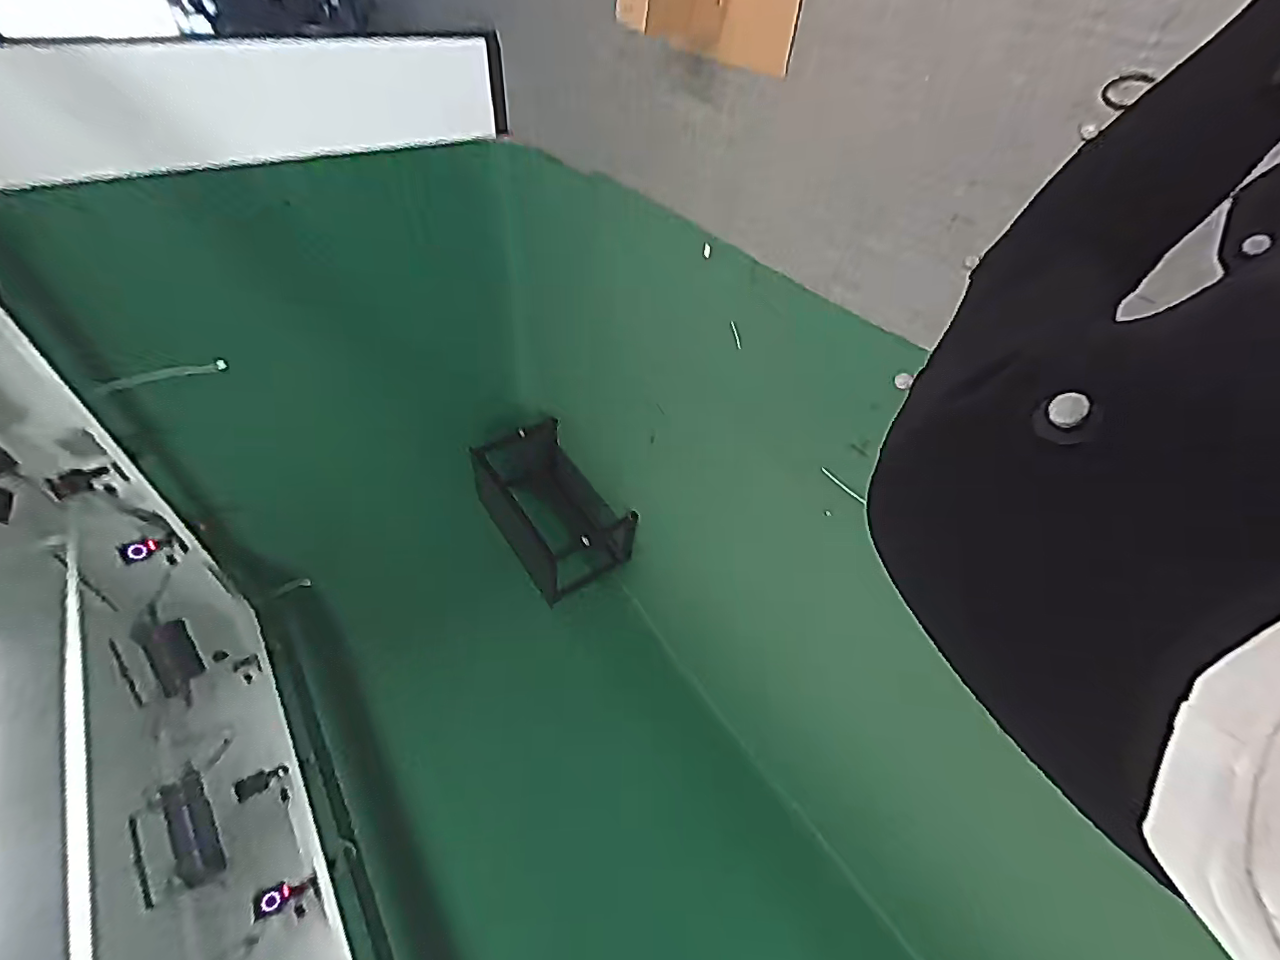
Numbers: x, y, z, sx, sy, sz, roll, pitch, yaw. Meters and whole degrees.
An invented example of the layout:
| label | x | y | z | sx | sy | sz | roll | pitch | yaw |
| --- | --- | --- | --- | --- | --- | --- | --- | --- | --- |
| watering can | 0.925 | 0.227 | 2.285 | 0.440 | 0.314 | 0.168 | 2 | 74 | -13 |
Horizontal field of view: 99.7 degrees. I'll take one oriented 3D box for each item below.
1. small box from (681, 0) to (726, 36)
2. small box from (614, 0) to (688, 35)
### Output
| label | x | y | z | sx | sy | sz | roll | pitch | yaw |
| --- | --- | --- | --- | --- | --- | --- | --- | --- | --- |
| small box | 0.169 | -1.581 | 1.757 | 0.168 | 0.176 | 0.179 | 51 | 149 | 25 |
| small box | 0.041 | -1.515 | 1.675 | 0.168 | 0.176 | 0.179 | 51 | 150 | 26 |
